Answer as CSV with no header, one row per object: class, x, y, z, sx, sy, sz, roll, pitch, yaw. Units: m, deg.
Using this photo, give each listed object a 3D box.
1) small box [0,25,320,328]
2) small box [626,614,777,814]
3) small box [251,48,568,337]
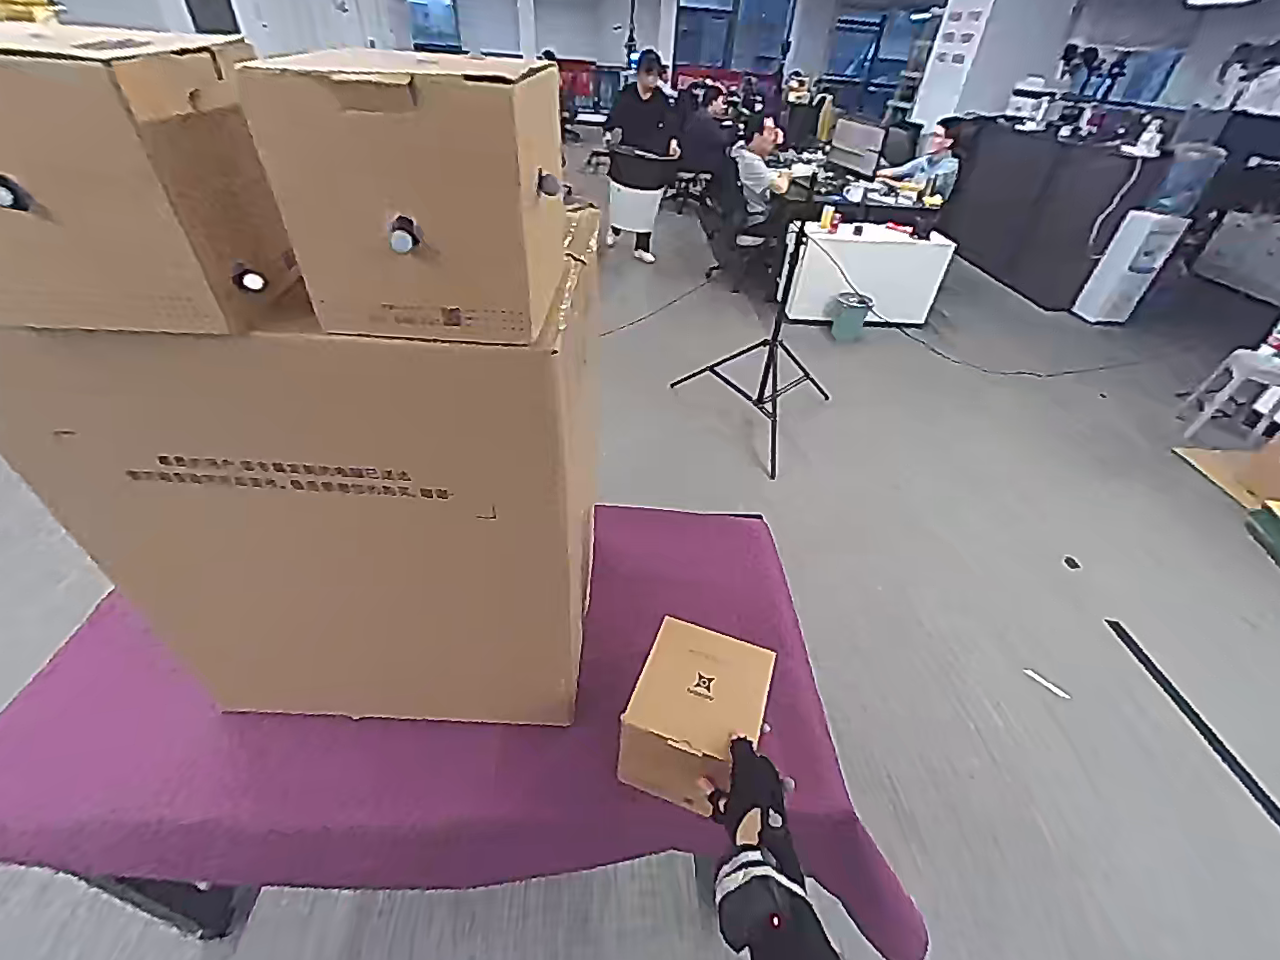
small box,-0.379,-0.227,0.409,0.179,0.176,0.168,0,41,-3
small box,0.084,0.329,0.763,0.168,0.176,0.179,15,39,13
small box,-0.150,-0.229,0.433,0.168,0.176,0.179,4,41,-1
